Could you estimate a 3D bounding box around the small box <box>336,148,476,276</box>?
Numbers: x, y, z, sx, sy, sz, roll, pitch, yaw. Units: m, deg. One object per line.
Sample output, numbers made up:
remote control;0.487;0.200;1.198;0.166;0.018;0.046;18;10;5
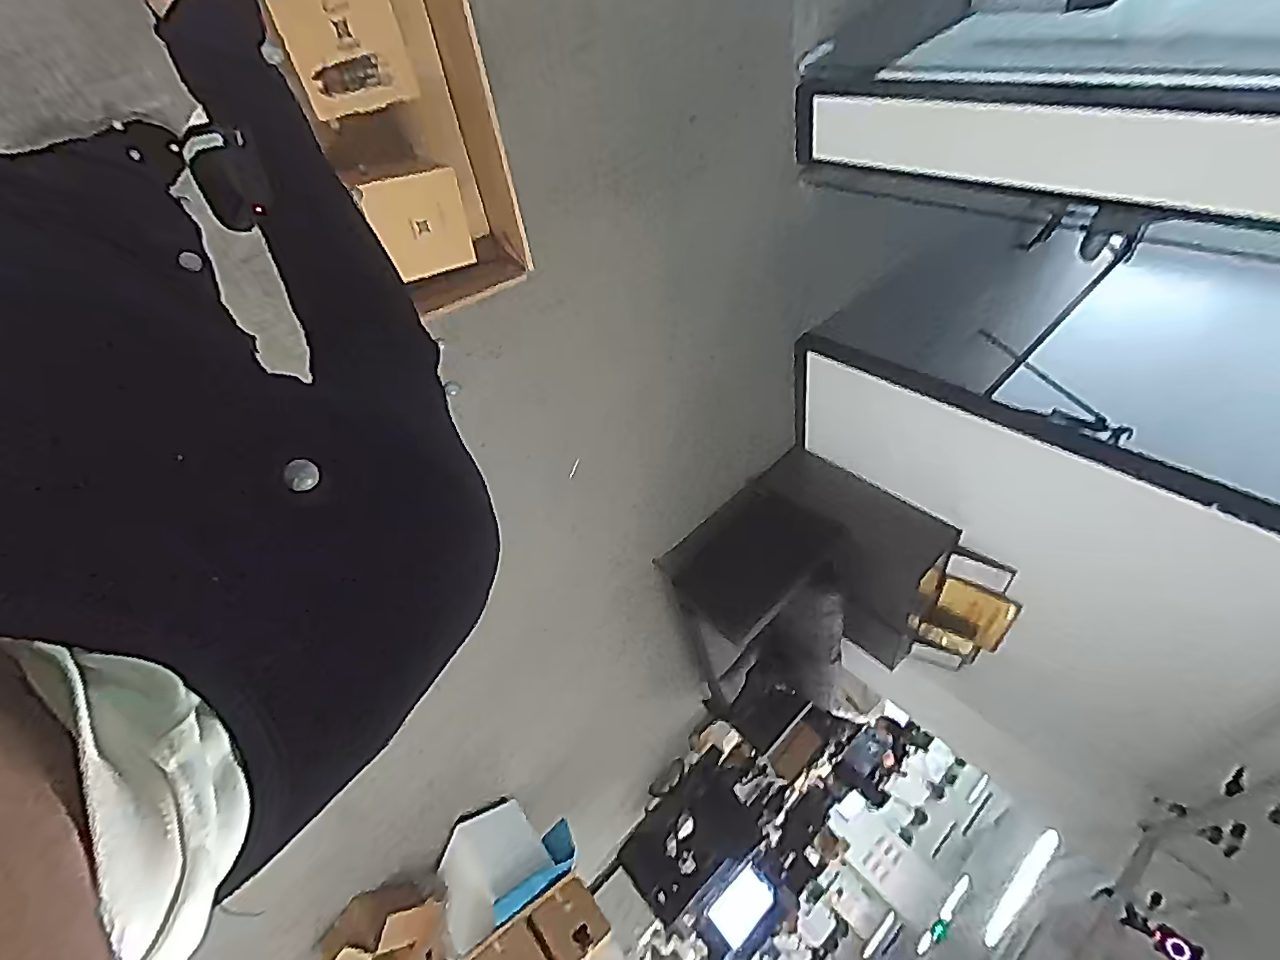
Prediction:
small box;-0.433;-0.498;0.996;0.179;0.176;0.168;-29;138;-27
